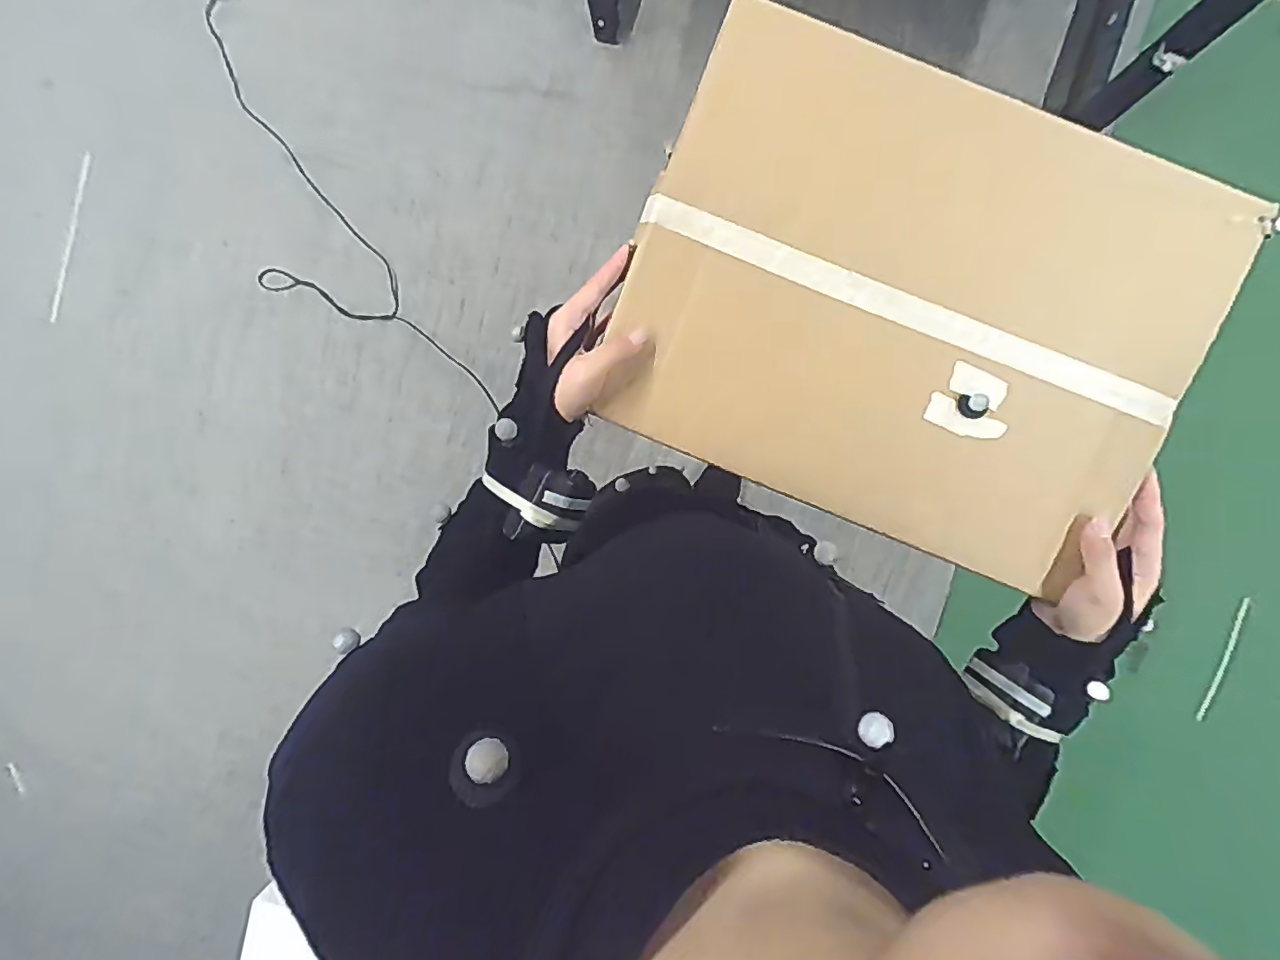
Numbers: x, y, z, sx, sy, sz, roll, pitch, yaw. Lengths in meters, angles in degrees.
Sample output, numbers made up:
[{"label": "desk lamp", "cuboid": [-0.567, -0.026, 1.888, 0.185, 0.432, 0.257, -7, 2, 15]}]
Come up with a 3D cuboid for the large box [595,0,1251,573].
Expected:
[{"label": "large box", "cuboid": [0.203, -0.152, 0.549, 0.408, 0.320, 0.320, 22, 97, 0]}]
